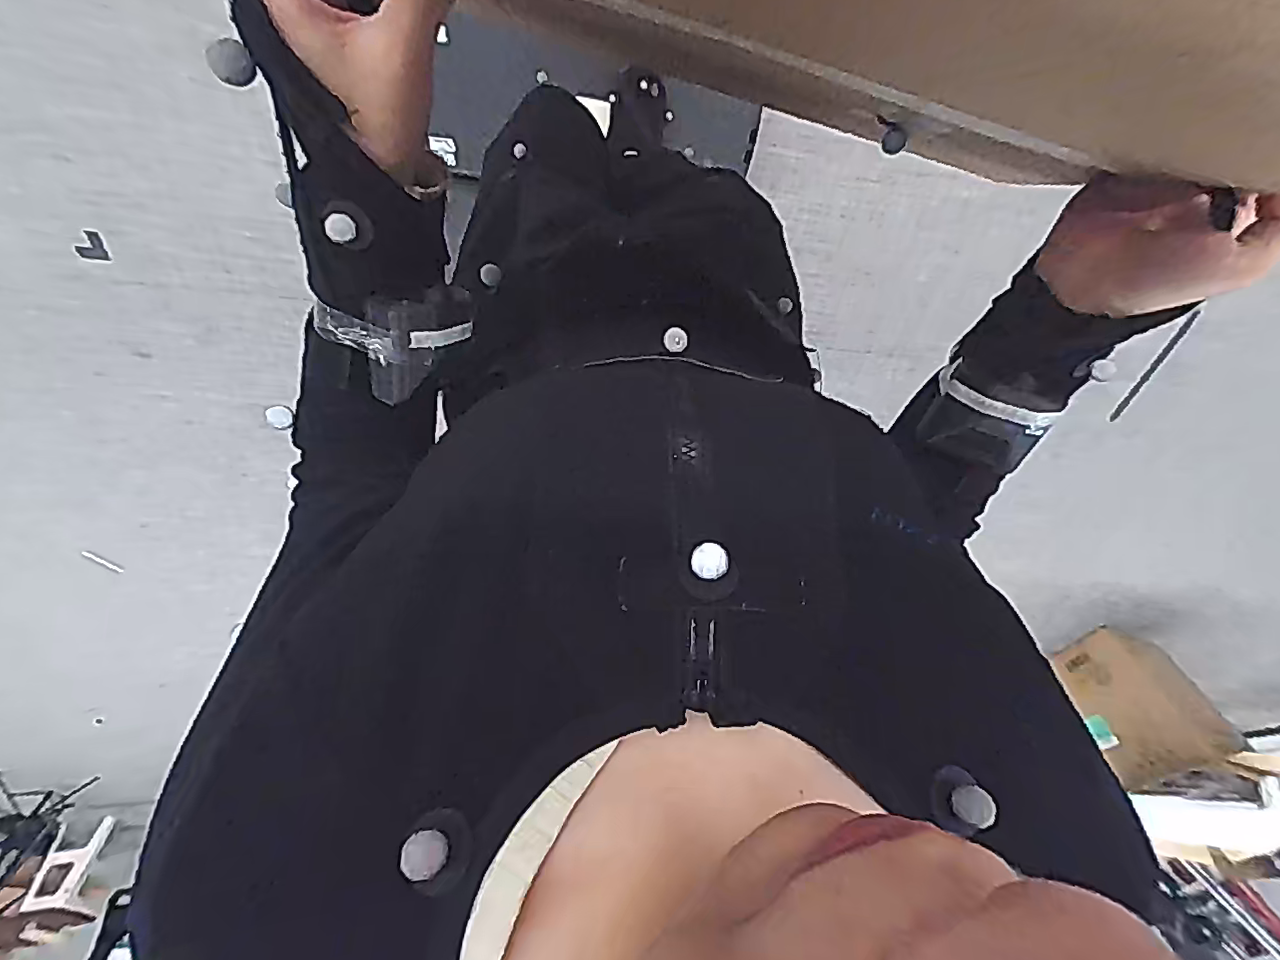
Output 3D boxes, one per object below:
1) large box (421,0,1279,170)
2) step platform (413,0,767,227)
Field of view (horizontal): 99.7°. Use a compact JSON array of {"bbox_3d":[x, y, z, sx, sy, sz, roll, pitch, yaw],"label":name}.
[{"bbox_3d":[0.100,-0.317,0.159,0.408,0.320,0.320,9,120,-8],"label":"large box"},{"bbox_3d":[-0.095,-0.750,1.106,0.684,0.204,0.286,8,129,-12],"label":"step platform"}]
